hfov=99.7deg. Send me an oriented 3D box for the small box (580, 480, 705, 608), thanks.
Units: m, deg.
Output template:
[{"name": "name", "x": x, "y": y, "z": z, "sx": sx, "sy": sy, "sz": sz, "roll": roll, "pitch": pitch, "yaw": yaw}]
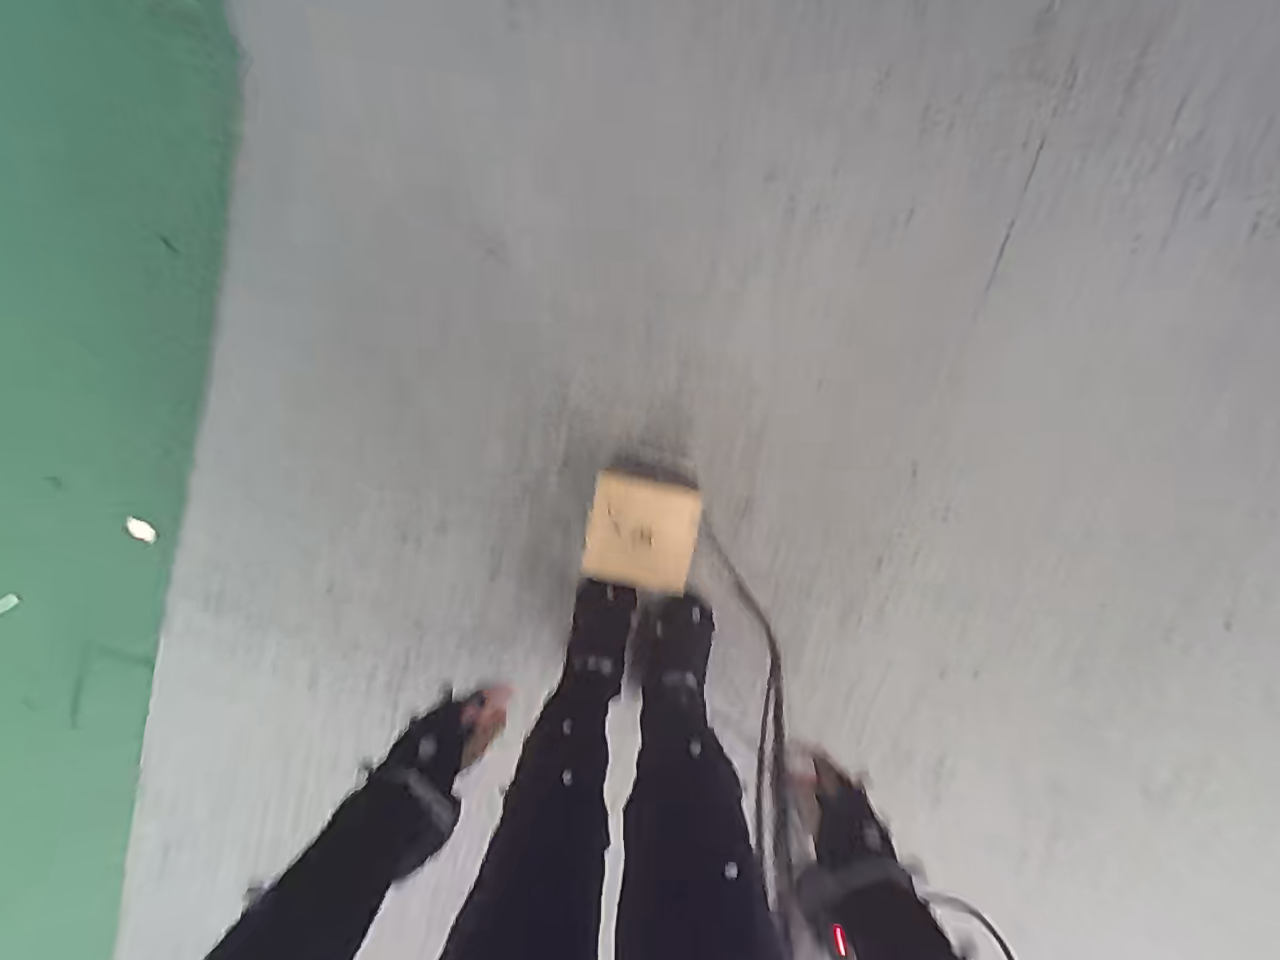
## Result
[{"name": "small box", "x": 0.005, "y": 0.103, "z": 0.951, "sx": 0.179, "sy": 0.176, "sz": 0.168, "roll": 13, "pitch": 98, "yaw": 1}]
